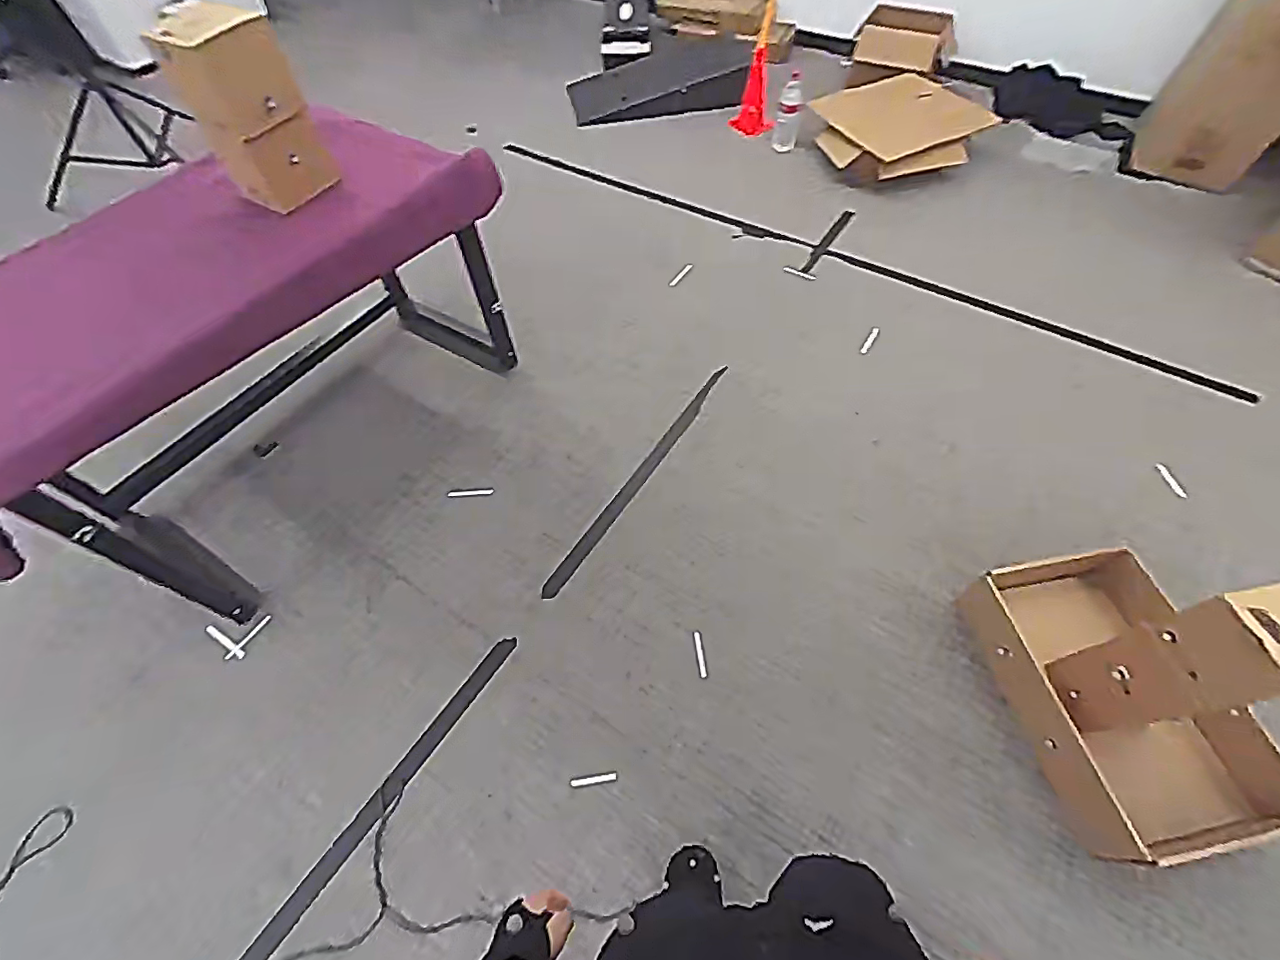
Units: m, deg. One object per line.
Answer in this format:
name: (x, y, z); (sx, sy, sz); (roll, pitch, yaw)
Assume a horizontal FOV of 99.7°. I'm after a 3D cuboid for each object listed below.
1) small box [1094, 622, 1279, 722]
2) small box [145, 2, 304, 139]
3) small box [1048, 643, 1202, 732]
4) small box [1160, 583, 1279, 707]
small box: (1.110, 0.390, 1.115); (0.179, 0.176, 0.168); (-8, 57, -3)
small box: (-0.848, -0.854, 1.131); (0.168, 0.176, 0.179); (24, 61, 16)
small box: (1.110, 0.476, 1.252); (0.179, 0.176, 0.168); (-6, 57, -3)
small box: (1.112, 0.299, 0.978); (0.179, 0.176, 0.168); (-8, 57, -6)
